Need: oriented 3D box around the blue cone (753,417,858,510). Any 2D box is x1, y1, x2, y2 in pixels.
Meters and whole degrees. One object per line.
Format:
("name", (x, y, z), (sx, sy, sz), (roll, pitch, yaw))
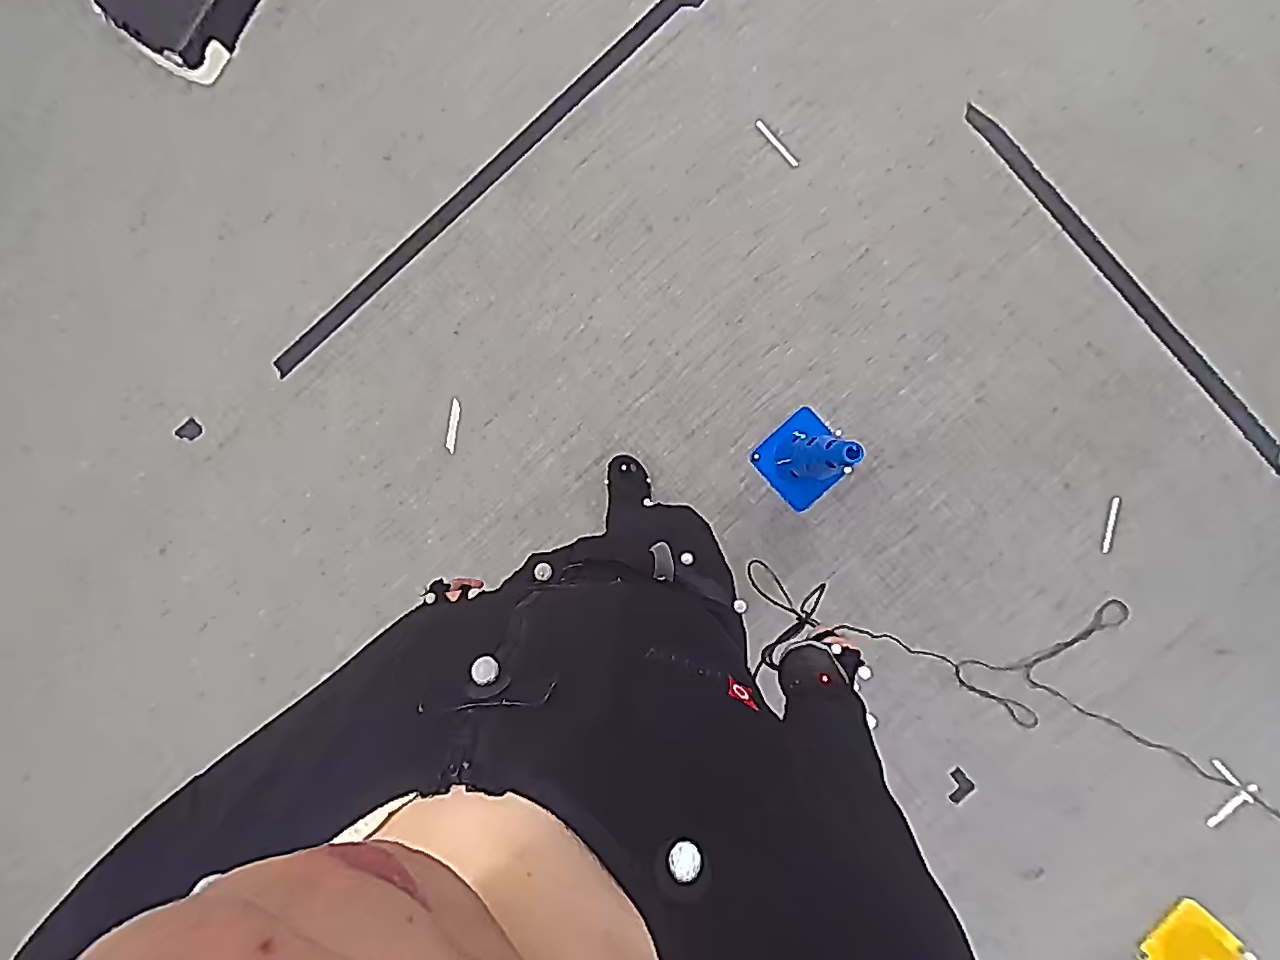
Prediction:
("blue cone", (0.397, -0.039, 1.175), (0.192, 0.380, 0.193), (-41, 89, 3))
